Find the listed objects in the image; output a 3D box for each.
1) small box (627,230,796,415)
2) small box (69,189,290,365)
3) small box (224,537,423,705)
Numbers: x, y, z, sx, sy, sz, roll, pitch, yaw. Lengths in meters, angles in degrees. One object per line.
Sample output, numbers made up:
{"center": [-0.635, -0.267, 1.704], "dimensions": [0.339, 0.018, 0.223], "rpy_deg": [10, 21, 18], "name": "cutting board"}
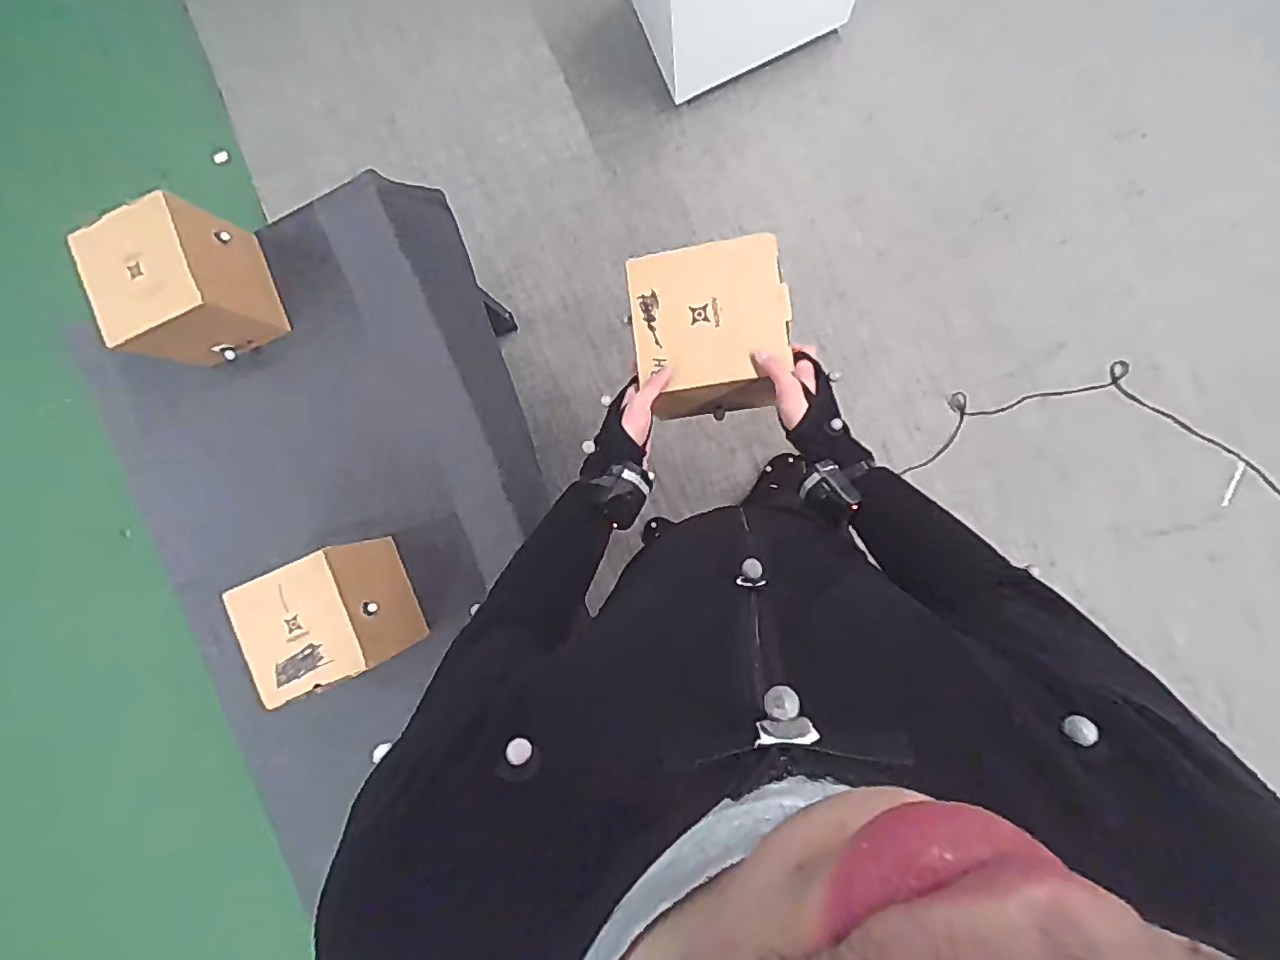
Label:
{"center": [0.088, -0.185, 0.686], "dimensions": [0.179, 0.176, 0.168], "rpy_deg": [-7, 85, 8], "name": "small box"}
{"center": [-0.695, -0.299, 0.836], "dimensions": [0.168, 0.176, 0.179], "rpy_deg": [-22, 90, 7], "name": "small box"}
{"center": [-0.462, 0.201, 0.818], "dimensions": [0.168, 0.176, 0.179], "rpy_deg": [-23, 87, 6], "name": "small box"}
